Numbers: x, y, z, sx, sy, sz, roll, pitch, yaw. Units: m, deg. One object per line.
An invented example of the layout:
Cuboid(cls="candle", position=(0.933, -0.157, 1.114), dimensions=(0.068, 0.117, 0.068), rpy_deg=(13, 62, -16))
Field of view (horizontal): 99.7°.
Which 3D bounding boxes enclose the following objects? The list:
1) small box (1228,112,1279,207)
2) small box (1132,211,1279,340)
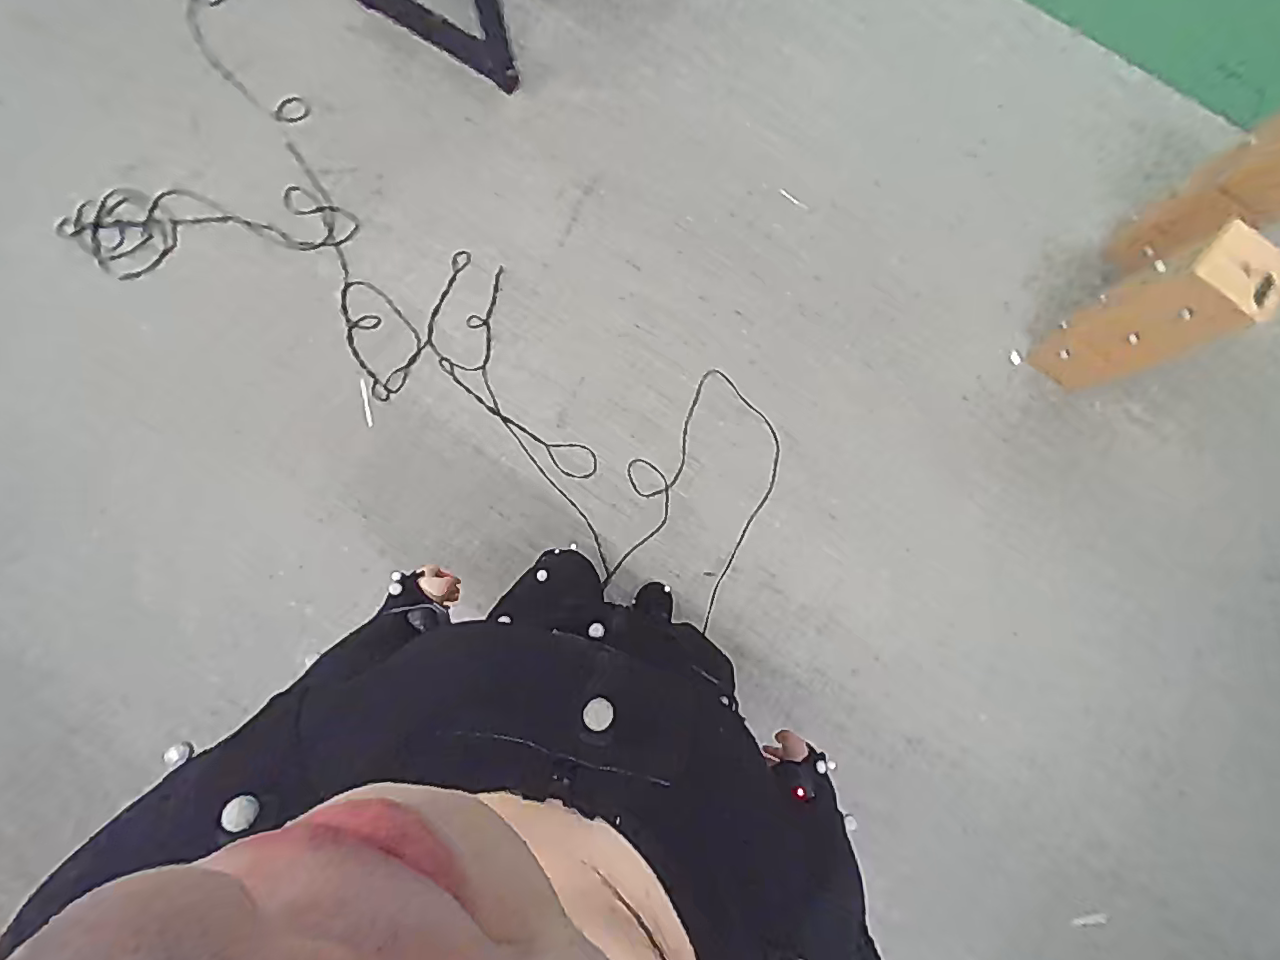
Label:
Cuboid(cls="small box", position=(1.513, -0.752, 1.212), dimensions=(0.179, 0.176, 0.168), rpy_deg=(34, 83, 2))
Cuboid(cls="small box", position=(1.252, -0.429, 1.174), dimensions=(0.179, 0.176, 0.168), rpy_deg=(42, 85, 5))
